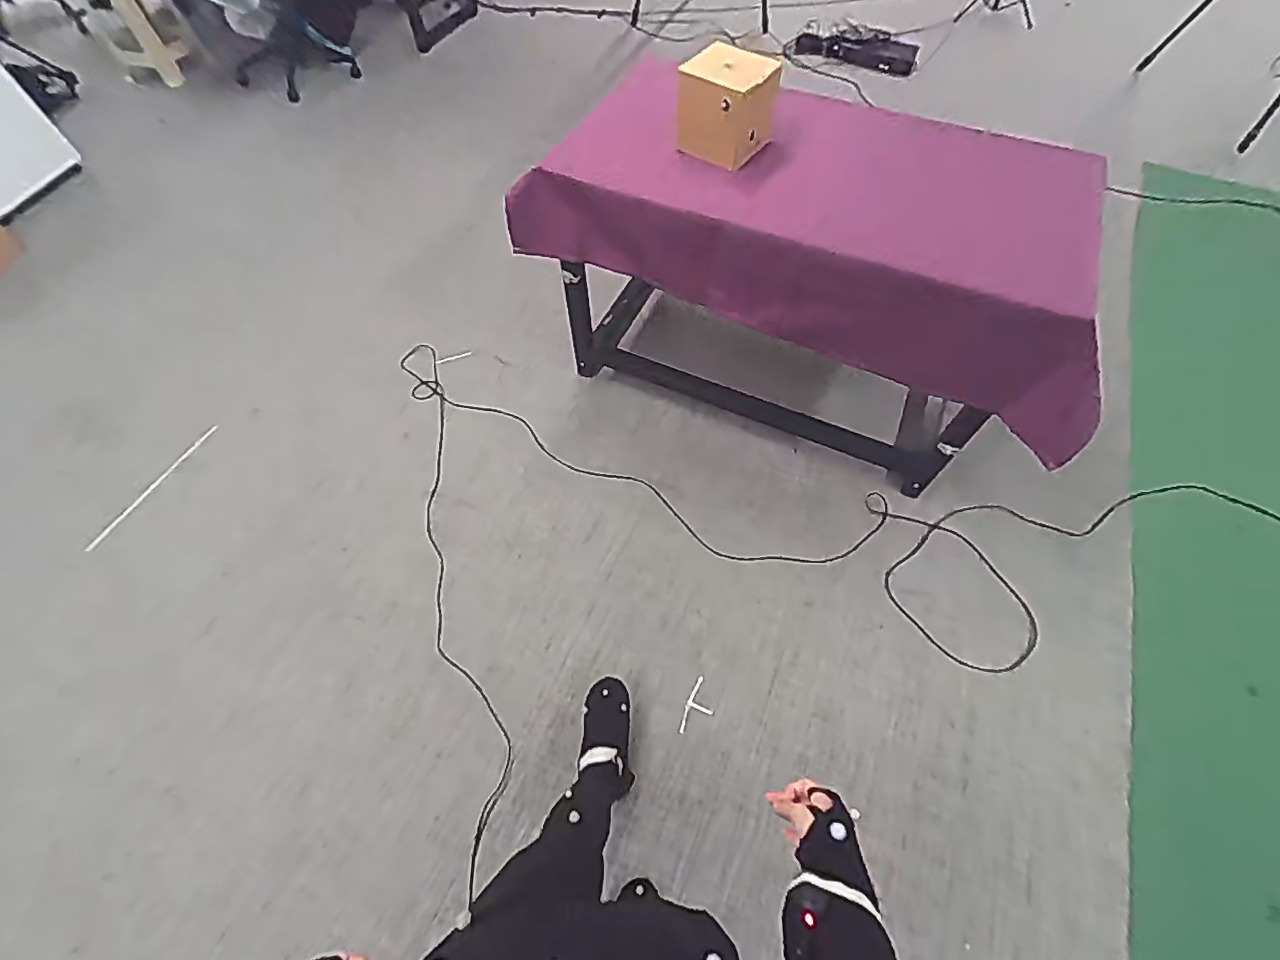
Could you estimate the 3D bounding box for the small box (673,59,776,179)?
[{"bbox_3d":[0.189,-0.843,1.271,0.179,0.176,0.168,32,64,18],"label":"small box"}]
